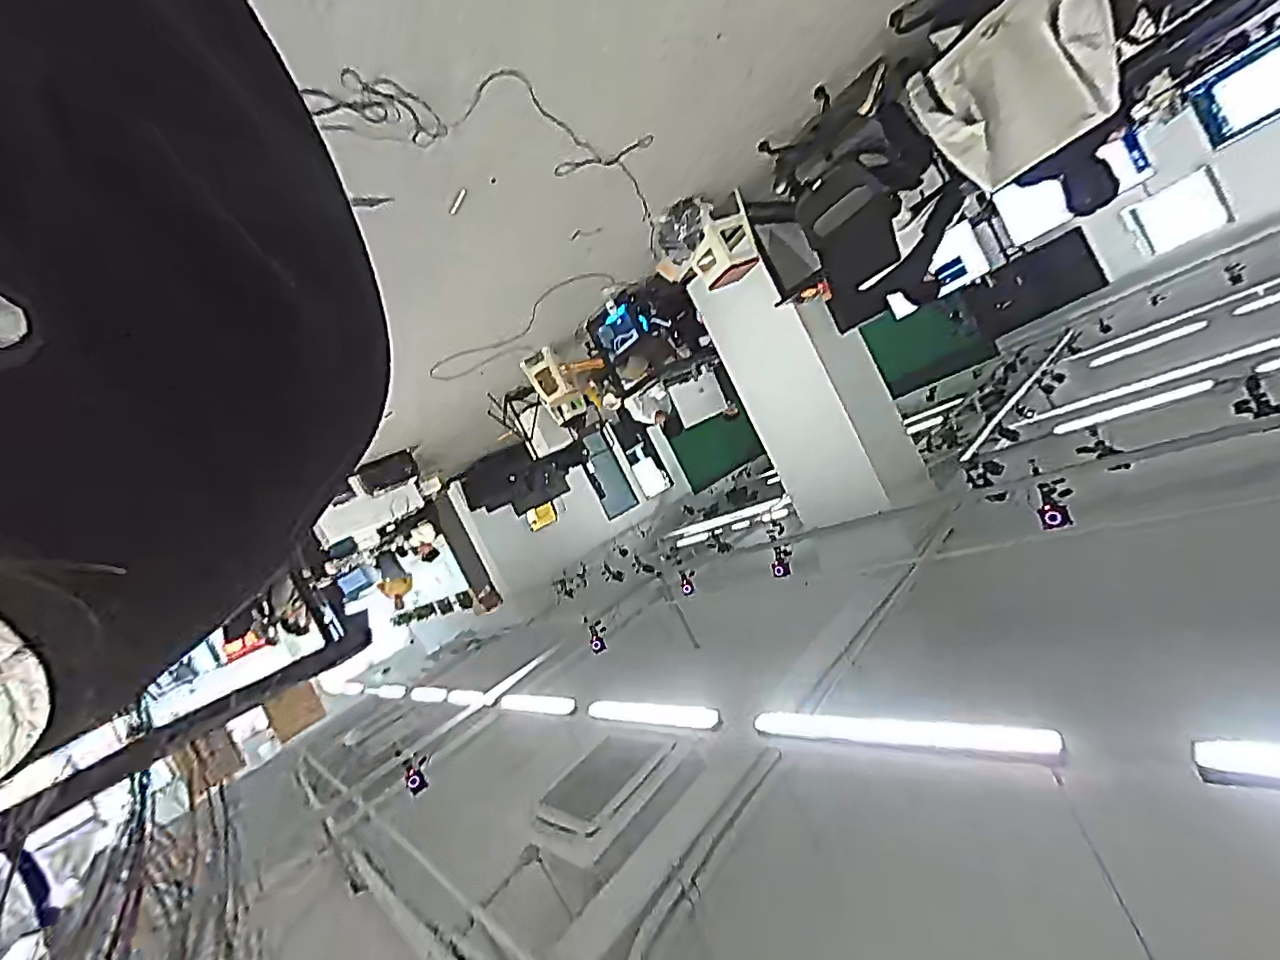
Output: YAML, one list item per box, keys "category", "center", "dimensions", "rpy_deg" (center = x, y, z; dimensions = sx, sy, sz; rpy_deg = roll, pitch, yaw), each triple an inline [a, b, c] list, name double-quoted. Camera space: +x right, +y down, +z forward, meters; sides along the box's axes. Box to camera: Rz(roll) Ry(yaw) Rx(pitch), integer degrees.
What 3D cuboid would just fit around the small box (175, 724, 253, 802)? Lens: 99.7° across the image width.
- category: "small box"
  center: [-1.485, 0.977, 1.883]
  dimensions: [0.168, 0.176, 0.179]
  rpy_deg: [-28, -177, -42]
